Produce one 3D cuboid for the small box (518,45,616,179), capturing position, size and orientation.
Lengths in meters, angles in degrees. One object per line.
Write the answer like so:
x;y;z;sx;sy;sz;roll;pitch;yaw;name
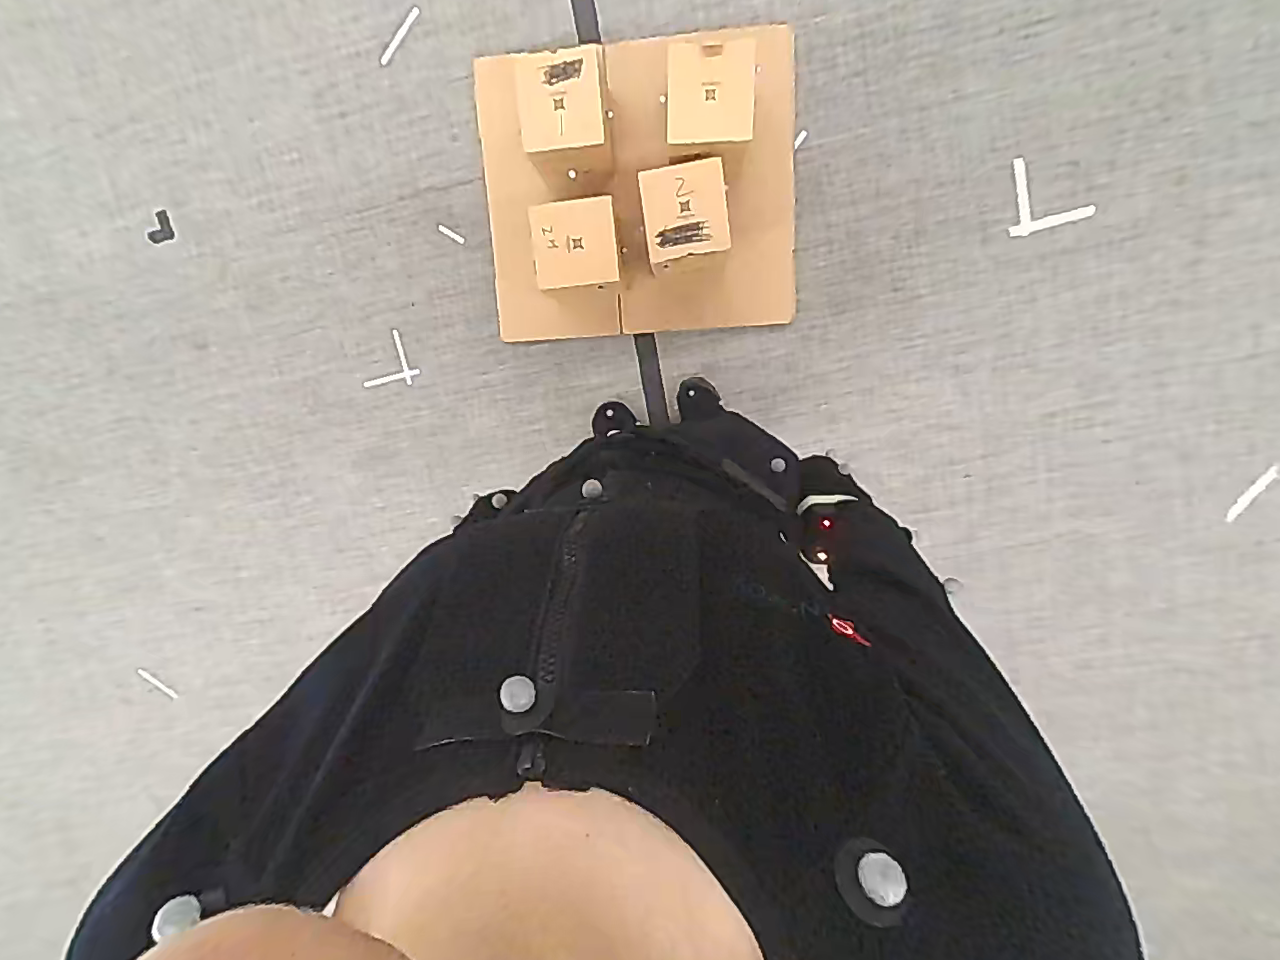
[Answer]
-0.146;-0.760;1.134;0.168;0.176;0.179;-4;102;5;small box
